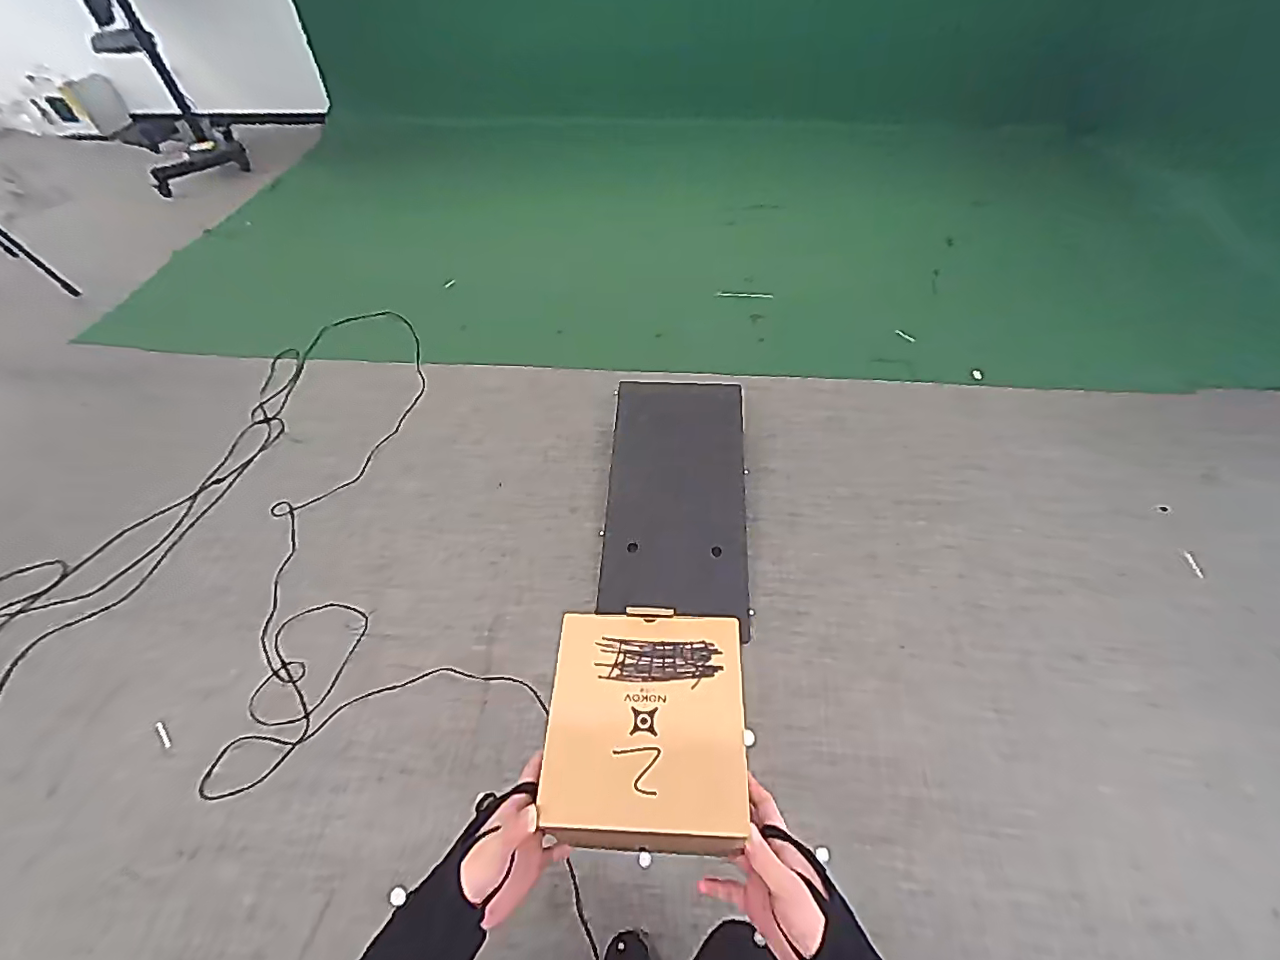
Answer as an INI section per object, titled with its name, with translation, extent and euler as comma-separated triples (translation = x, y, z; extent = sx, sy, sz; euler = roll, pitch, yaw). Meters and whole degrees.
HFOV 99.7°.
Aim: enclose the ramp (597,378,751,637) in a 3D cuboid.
[ramp]
translation = 0.136, 0.040, 1.917
extent = 0.509, 0.206, 0.991
euler = 2, 52, 2
